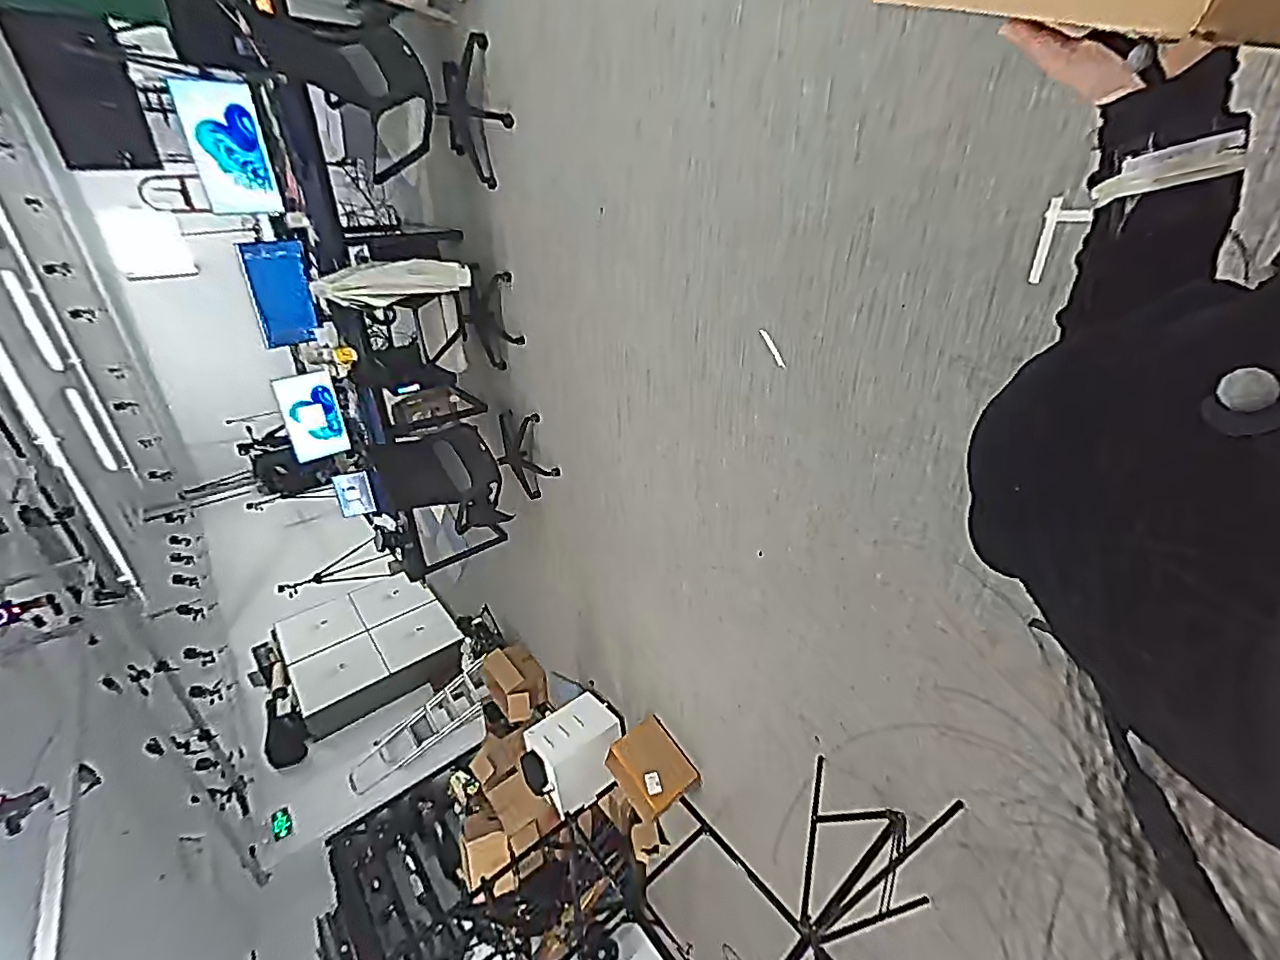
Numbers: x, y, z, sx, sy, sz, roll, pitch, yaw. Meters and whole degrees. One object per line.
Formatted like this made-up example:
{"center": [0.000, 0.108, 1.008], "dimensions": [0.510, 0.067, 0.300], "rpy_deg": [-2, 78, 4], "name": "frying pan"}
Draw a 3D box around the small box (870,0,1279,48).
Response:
{"center": [0.258, -0.319, 0.257], "dimensions": [0.179, 0.176, 0.168], "rpy_deg": [48, 147, 37], "name": "small box"}
